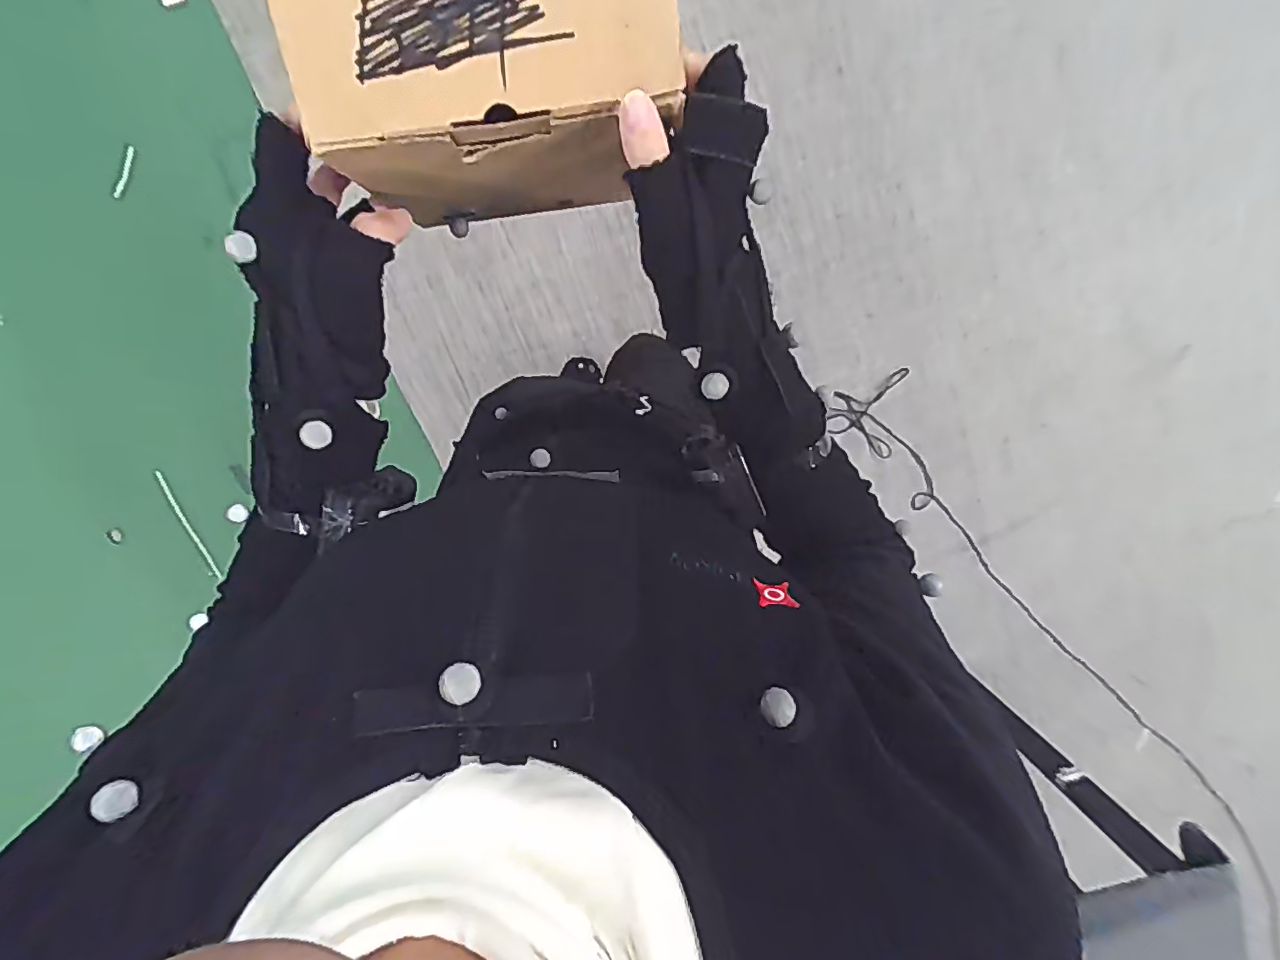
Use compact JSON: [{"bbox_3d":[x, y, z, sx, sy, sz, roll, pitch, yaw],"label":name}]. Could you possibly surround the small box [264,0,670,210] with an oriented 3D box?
[{"bbox_3d":[-0.082,-0.260,0.291,0.168,0.176,0.179,-10,105,-2],"label":"small box"}]
